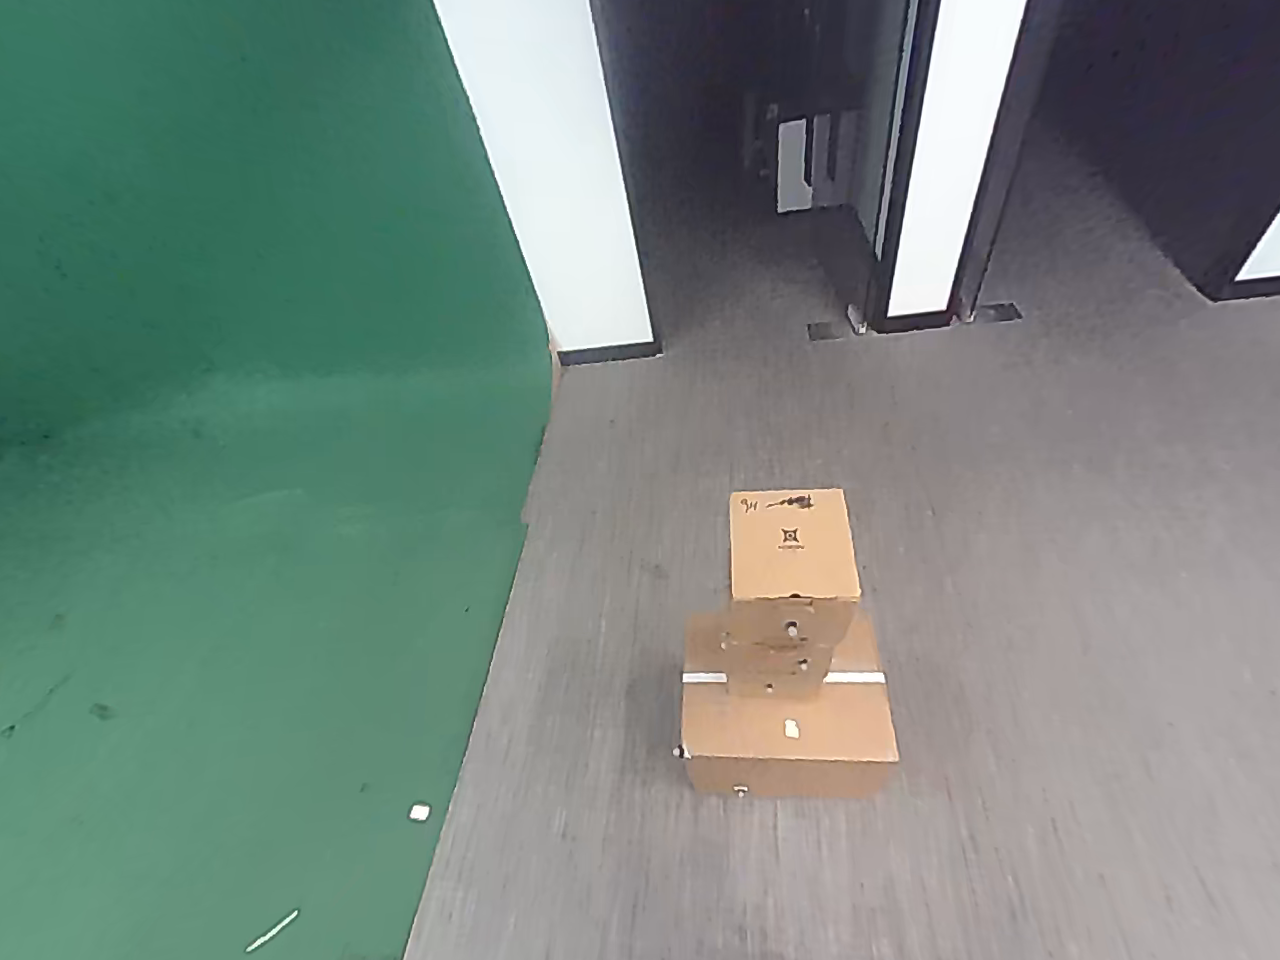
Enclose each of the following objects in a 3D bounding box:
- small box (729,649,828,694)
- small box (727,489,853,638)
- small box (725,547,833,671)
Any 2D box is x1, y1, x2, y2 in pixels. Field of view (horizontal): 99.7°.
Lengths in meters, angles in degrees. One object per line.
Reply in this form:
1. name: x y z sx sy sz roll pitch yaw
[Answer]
1. small box: 0.268 0.324 1.085 0.179 0.176 0.168 -4 55 11
2. small box: 0.221 0.133 0.826 0.168 0.176 0.179 -2 55 11
3. small box: 0.240 0.229 0.957 0.168 0.176 0.179 -3 53 10
